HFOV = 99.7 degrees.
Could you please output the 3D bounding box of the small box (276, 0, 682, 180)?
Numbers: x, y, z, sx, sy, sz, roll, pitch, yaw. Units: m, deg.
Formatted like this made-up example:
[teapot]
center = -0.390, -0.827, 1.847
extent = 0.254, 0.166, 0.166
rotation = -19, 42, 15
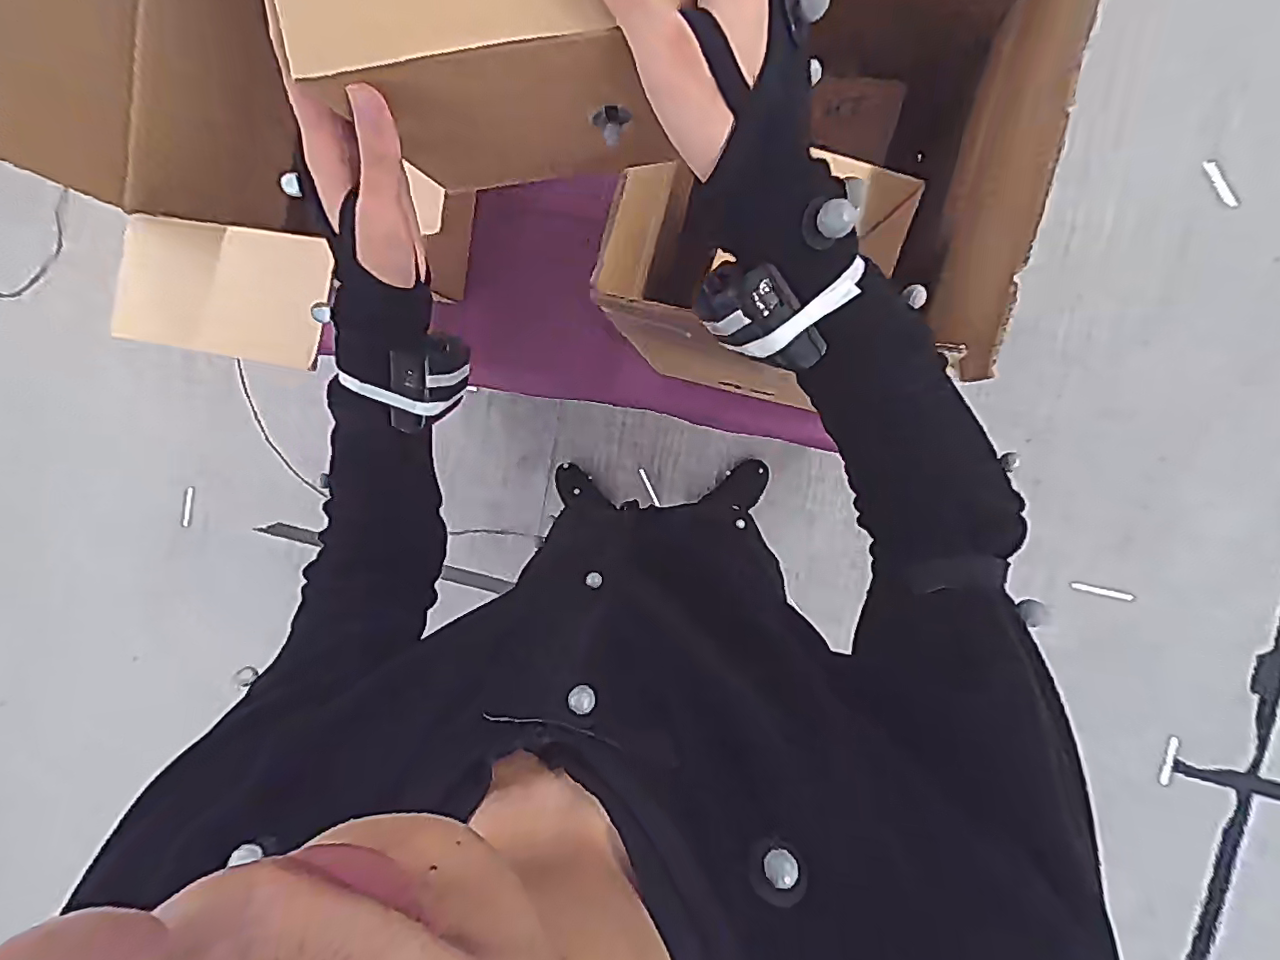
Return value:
[small box]
center = -0.071, -0.284, 0.292
extent = 0.179, 0.176, 0.168
rotation = -5, 102, 6
